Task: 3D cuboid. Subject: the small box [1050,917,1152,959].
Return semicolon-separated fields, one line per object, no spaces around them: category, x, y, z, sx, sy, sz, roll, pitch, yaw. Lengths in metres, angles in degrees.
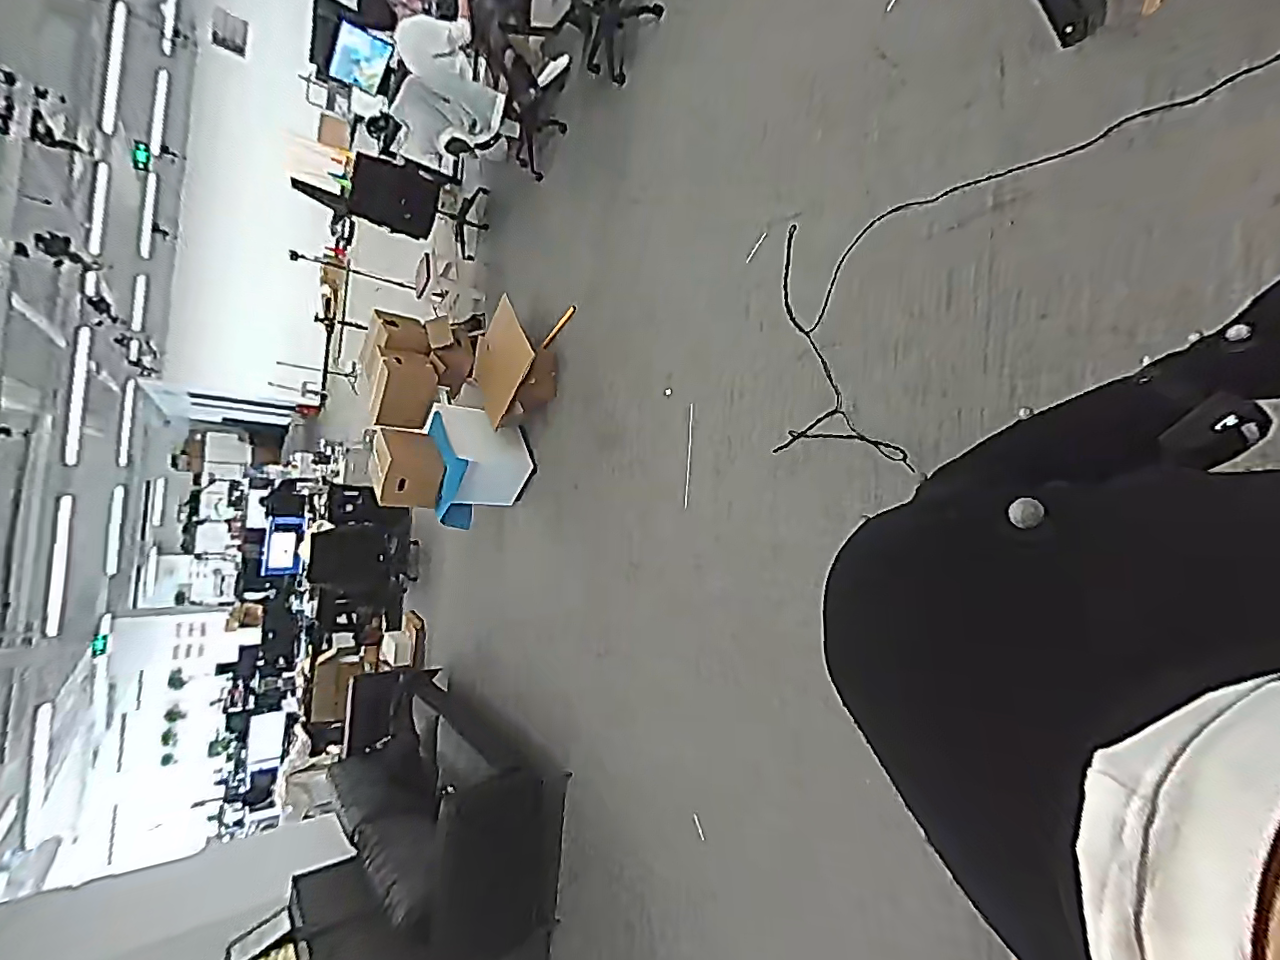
small box;0.973;1.076;1.130;0.168;0.176;0.179;4;88;51
